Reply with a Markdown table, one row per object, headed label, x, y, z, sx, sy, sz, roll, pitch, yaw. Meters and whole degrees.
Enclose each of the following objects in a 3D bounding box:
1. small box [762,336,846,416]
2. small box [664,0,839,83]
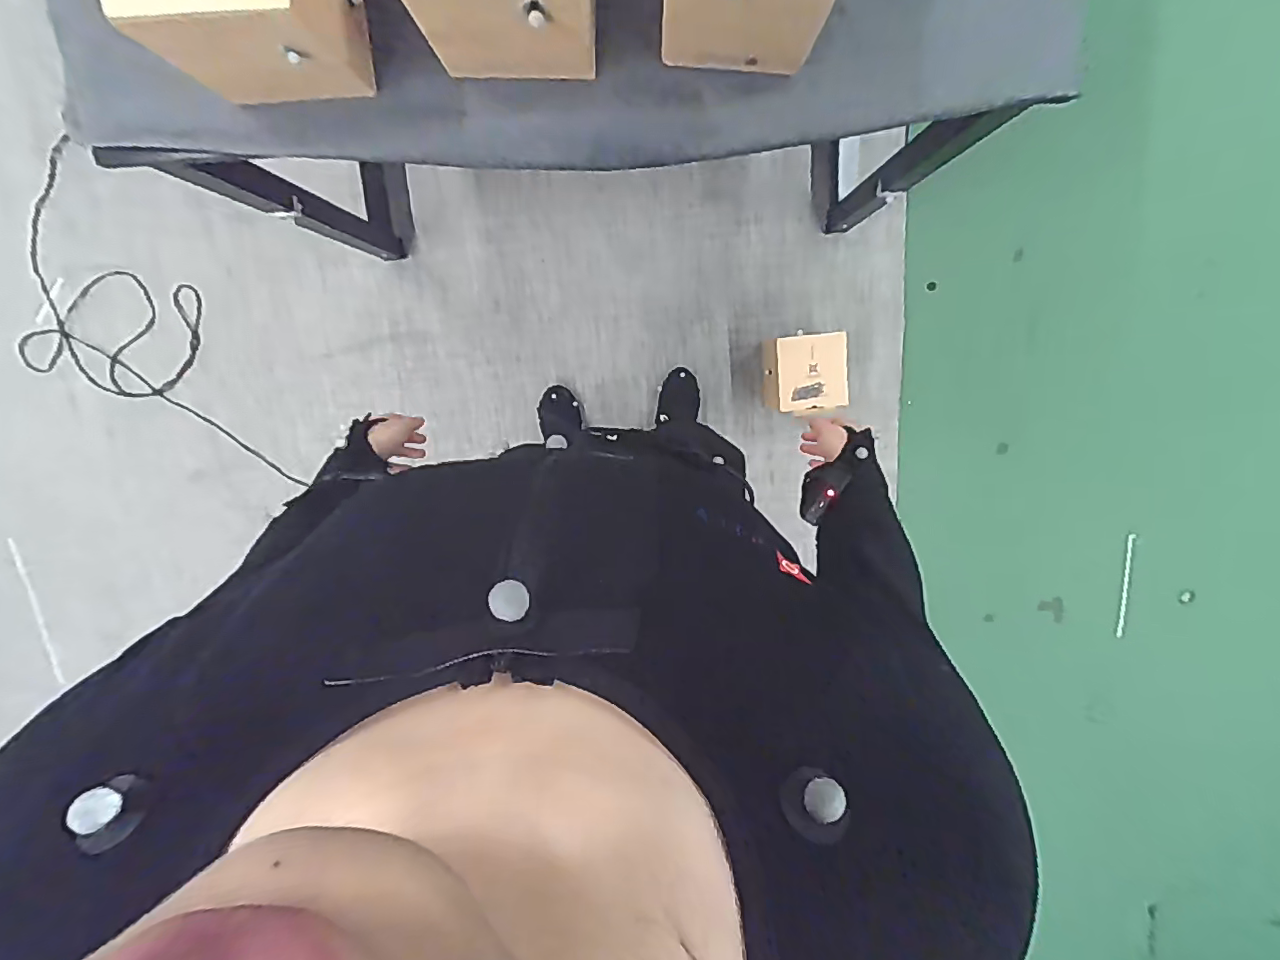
| label | x | y | z | sx | sy | sz | roll | pitch | yaw |
| --- | --- | --- | --- | --- | --- | --- | --- | --- | --- |
| small box | 0.404 | -0.260 | 1.349 | 0.168 | 0.176 | 0.179 | -5 | 101 | 2 |
| small box | 0.115 | -0.550 | 0.546 | 0.168 | 0.176 | 0.179 | 6 | 99 | 0 |
